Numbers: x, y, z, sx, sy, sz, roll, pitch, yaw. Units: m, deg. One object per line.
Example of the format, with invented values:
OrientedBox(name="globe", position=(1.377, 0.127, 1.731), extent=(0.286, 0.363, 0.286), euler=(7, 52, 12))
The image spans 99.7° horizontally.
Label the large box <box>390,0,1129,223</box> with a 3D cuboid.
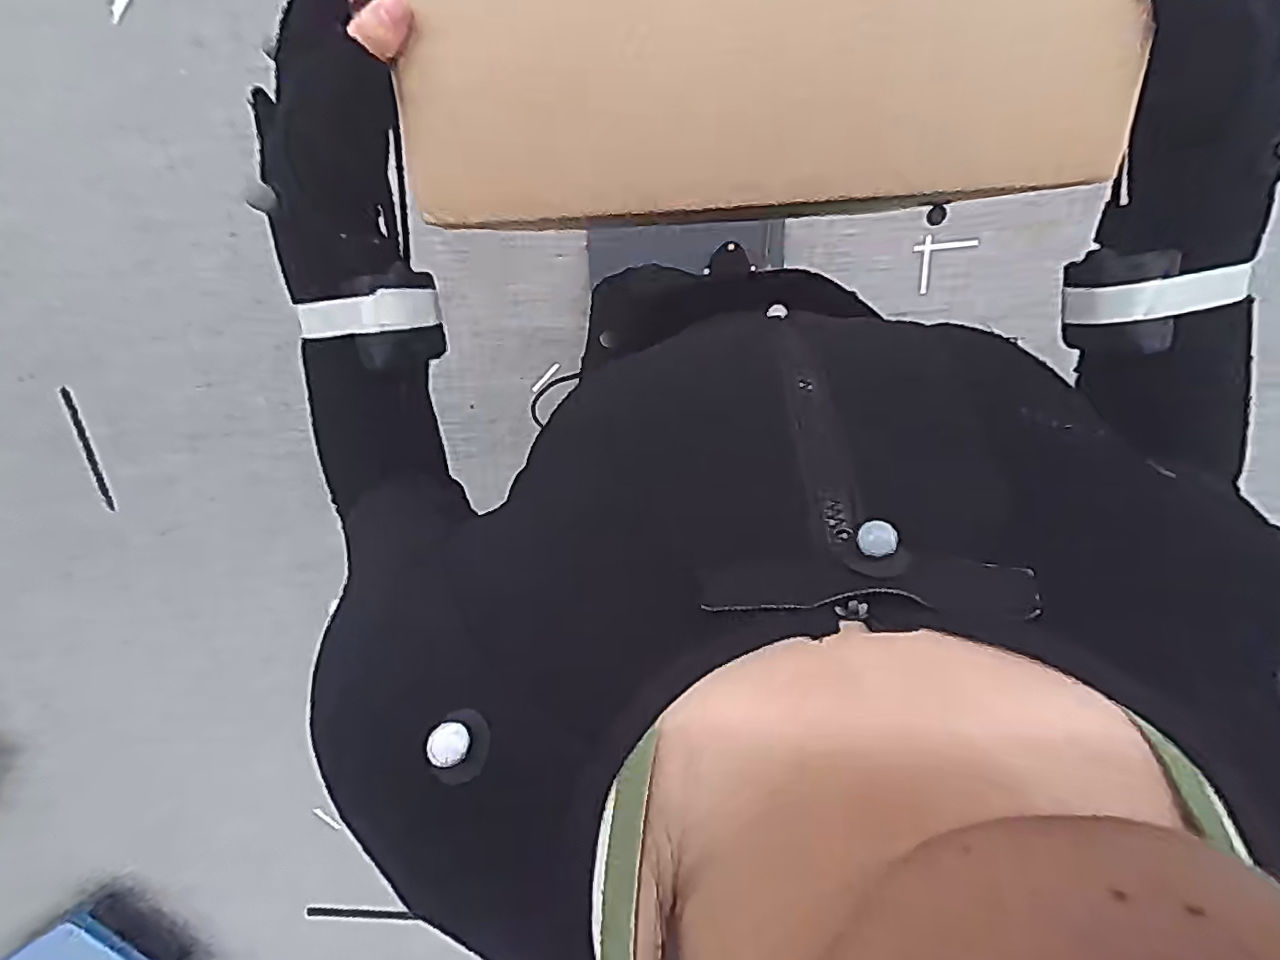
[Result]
OrientedBox(name="large box", position=(0.064, -0.375, 0.402), extent=(0.408, 0.320, 0.320), euler=(-2, 113, 2))
